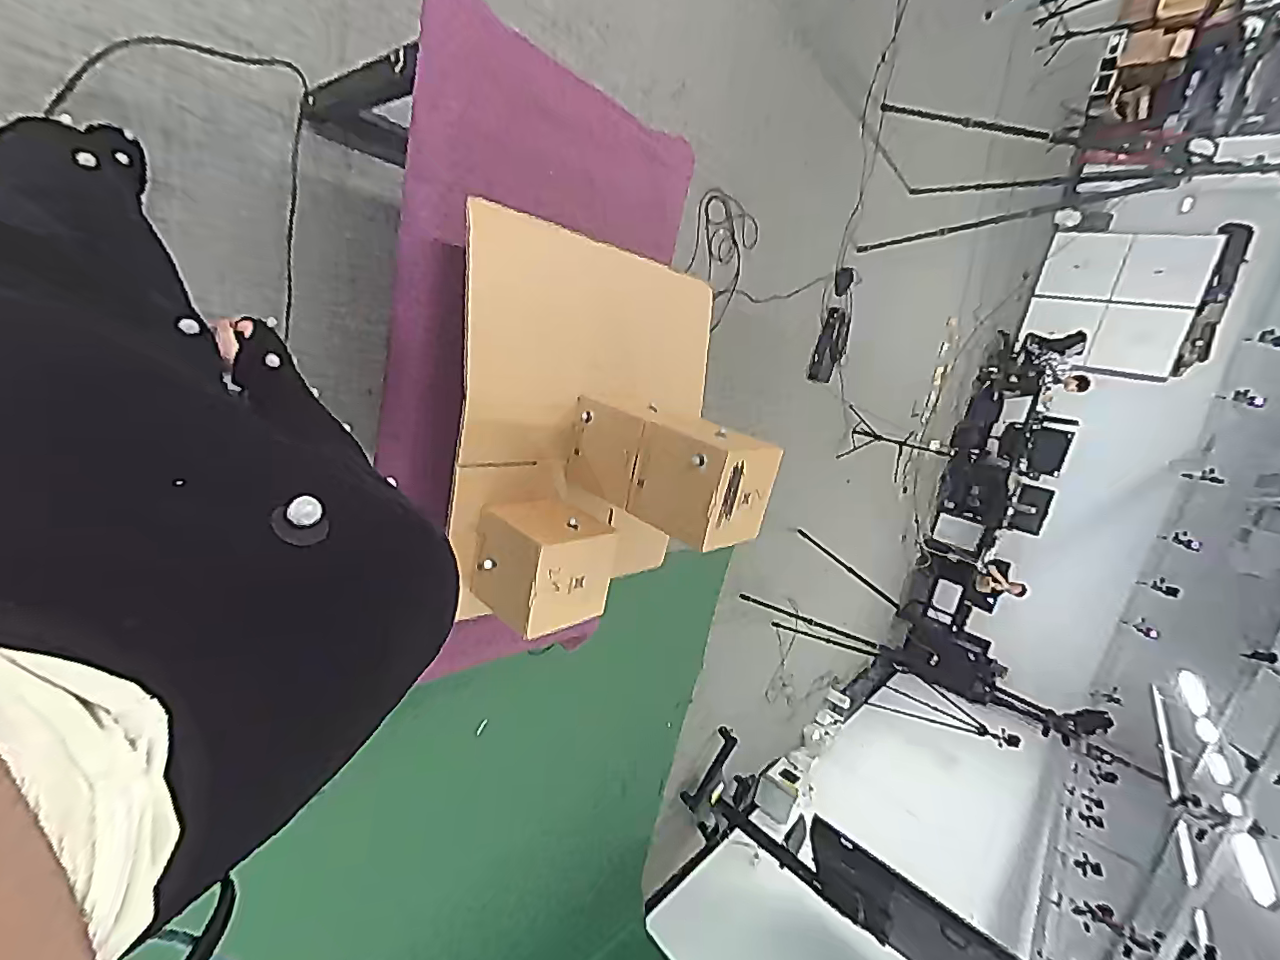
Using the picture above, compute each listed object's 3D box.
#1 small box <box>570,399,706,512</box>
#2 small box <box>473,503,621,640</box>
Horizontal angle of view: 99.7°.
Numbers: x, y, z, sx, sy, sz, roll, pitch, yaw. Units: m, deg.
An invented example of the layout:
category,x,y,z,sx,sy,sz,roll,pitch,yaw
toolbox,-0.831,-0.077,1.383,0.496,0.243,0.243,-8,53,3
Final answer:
category,x,y,z,sx,sy,sz,roll,pitch,yaw
small box,-0.008,-0.052,1.016,0.179,0.176,0.168,-6,115,-48
small box,-0.164,0.147,0.944,0.179,0.176,0.168,-5,112,-48
